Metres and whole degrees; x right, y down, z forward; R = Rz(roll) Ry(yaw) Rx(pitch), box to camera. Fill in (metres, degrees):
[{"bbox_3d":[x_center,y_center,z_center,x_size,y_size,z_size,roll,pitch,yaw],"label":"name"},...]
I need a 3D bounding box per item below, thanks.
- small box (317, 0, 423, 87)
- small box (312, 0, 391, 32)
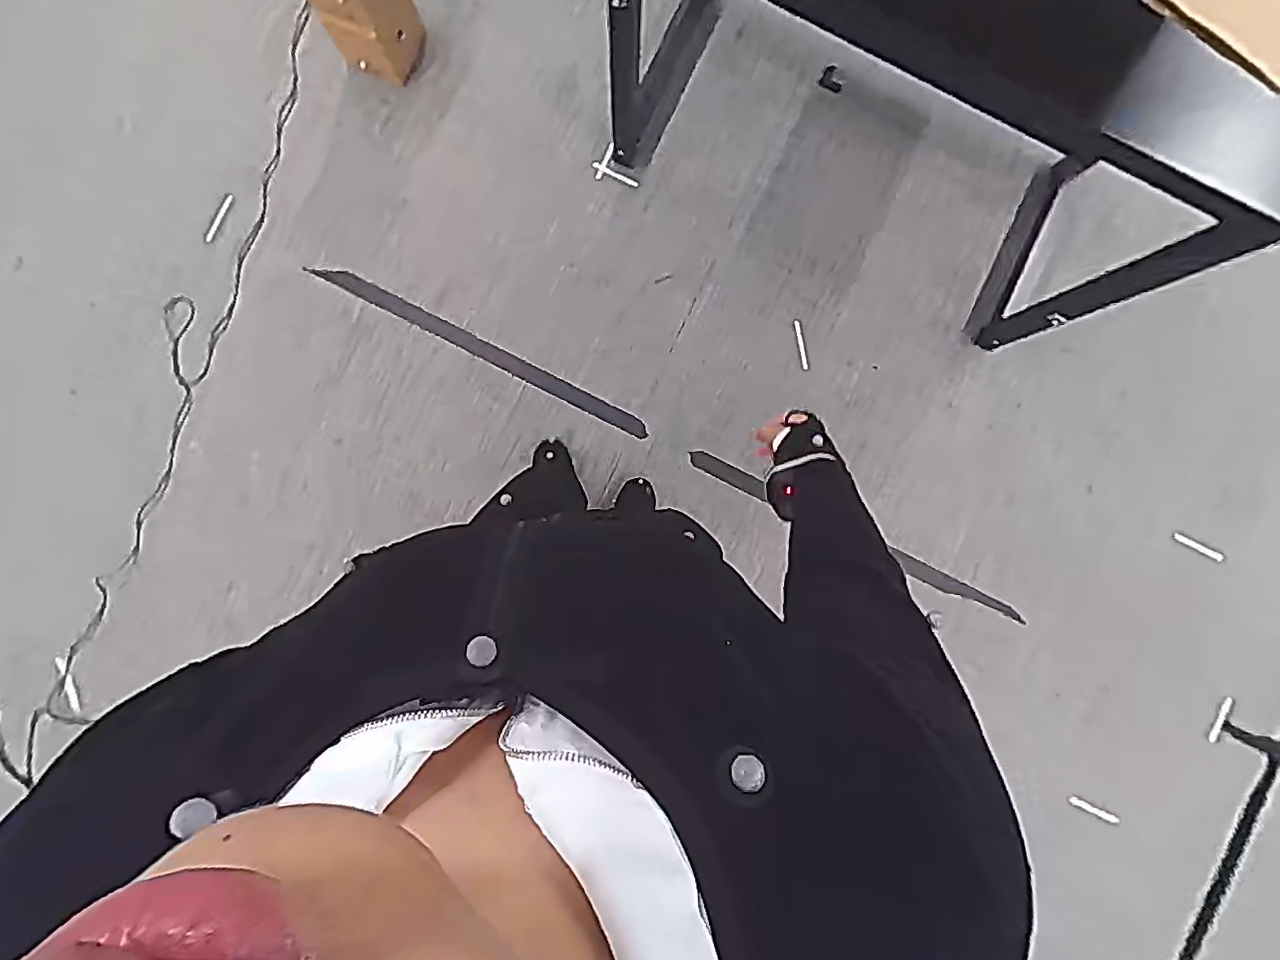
[{"bbox_3d":[-0.690,-1.190,1.408,0.168,0.176,0.179,22,90,-1],"label":"small box"},{"bbox_3d":[-0.685,-1.198,1.246,0.168,0.176,0.179,19,87,-3],"label":"small box"}]
